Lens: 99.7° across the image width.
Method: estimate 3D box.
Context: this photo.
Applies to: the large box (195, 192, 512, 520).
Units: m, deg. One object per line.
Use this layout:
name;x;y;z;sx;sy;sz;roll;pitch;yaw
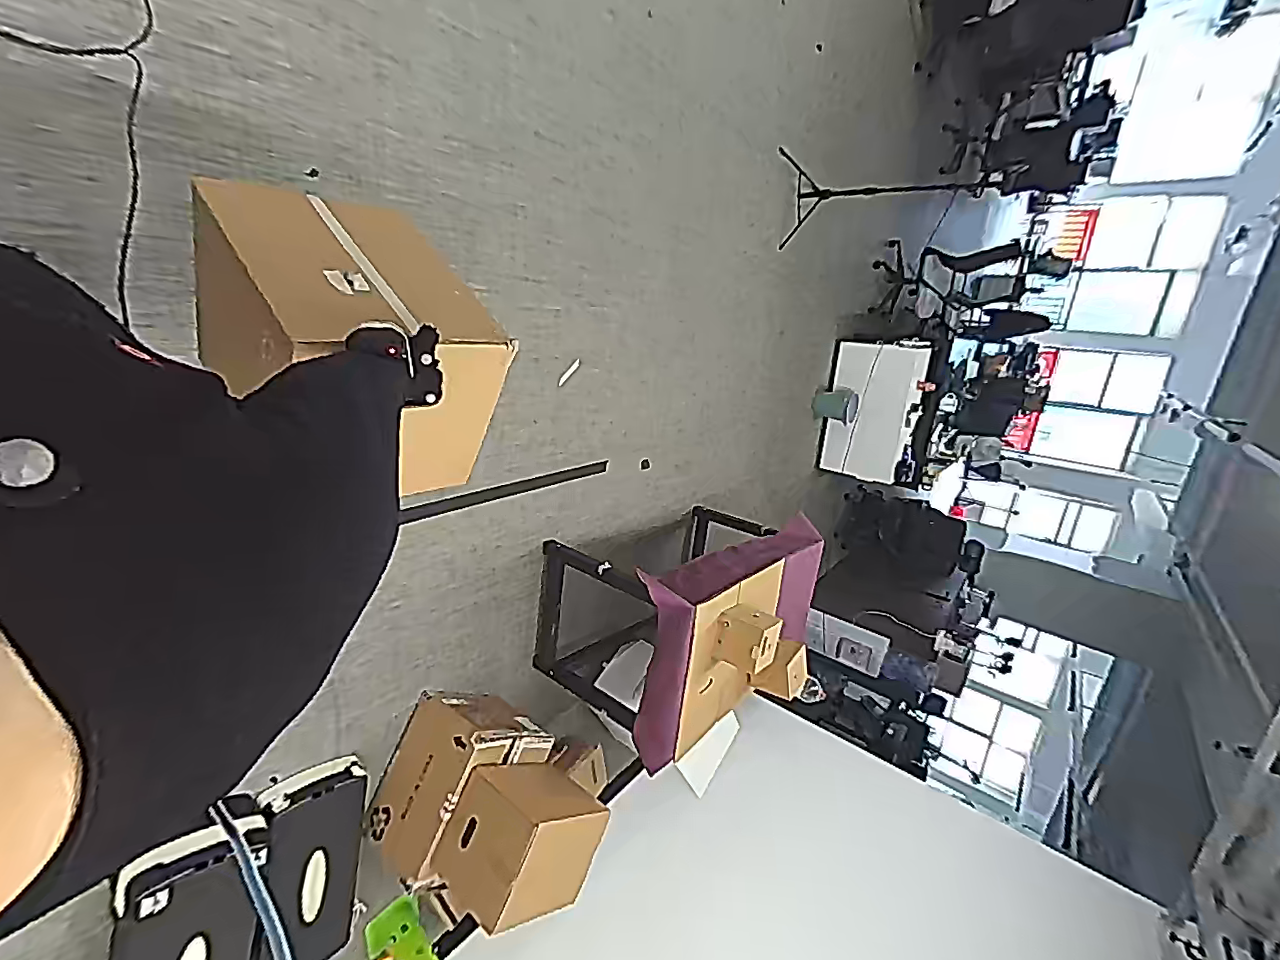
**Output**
large box;-0.492;-0.203;0.907;0.320;0.408;0.320;-16;147;-48
